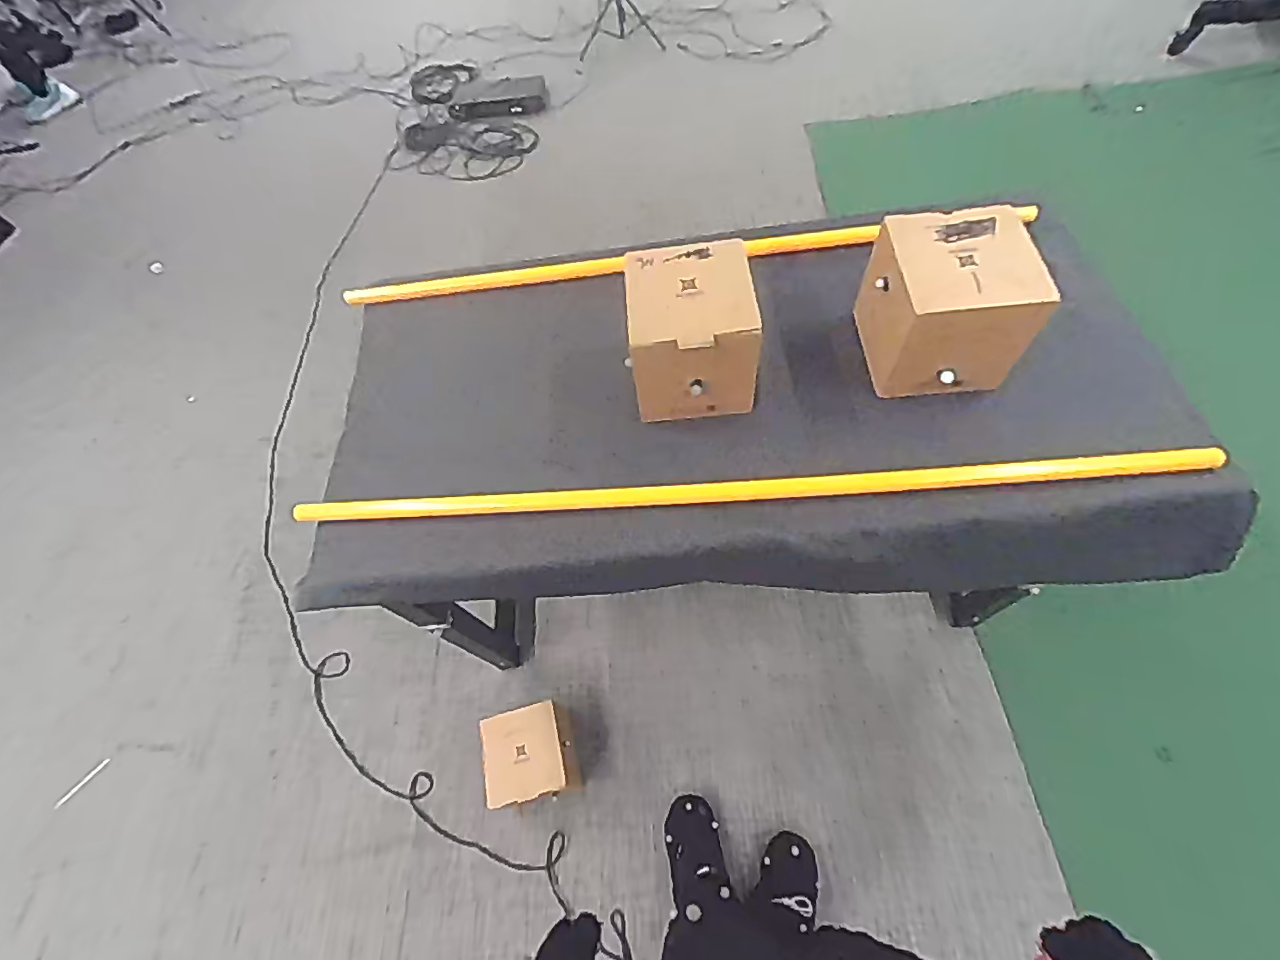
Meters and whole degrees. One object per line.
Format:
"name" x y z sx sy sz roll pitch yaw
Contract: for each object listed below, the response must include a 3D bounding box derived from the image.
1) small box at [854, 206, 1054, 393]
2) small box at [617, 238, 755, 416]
"small box" 0.410 -0.243 0.747 0.168 0.176 0.179 -4 62 5
"small box" 0.067 -0.208 0.775 0.168 0.176 0.179 -9 60 4
